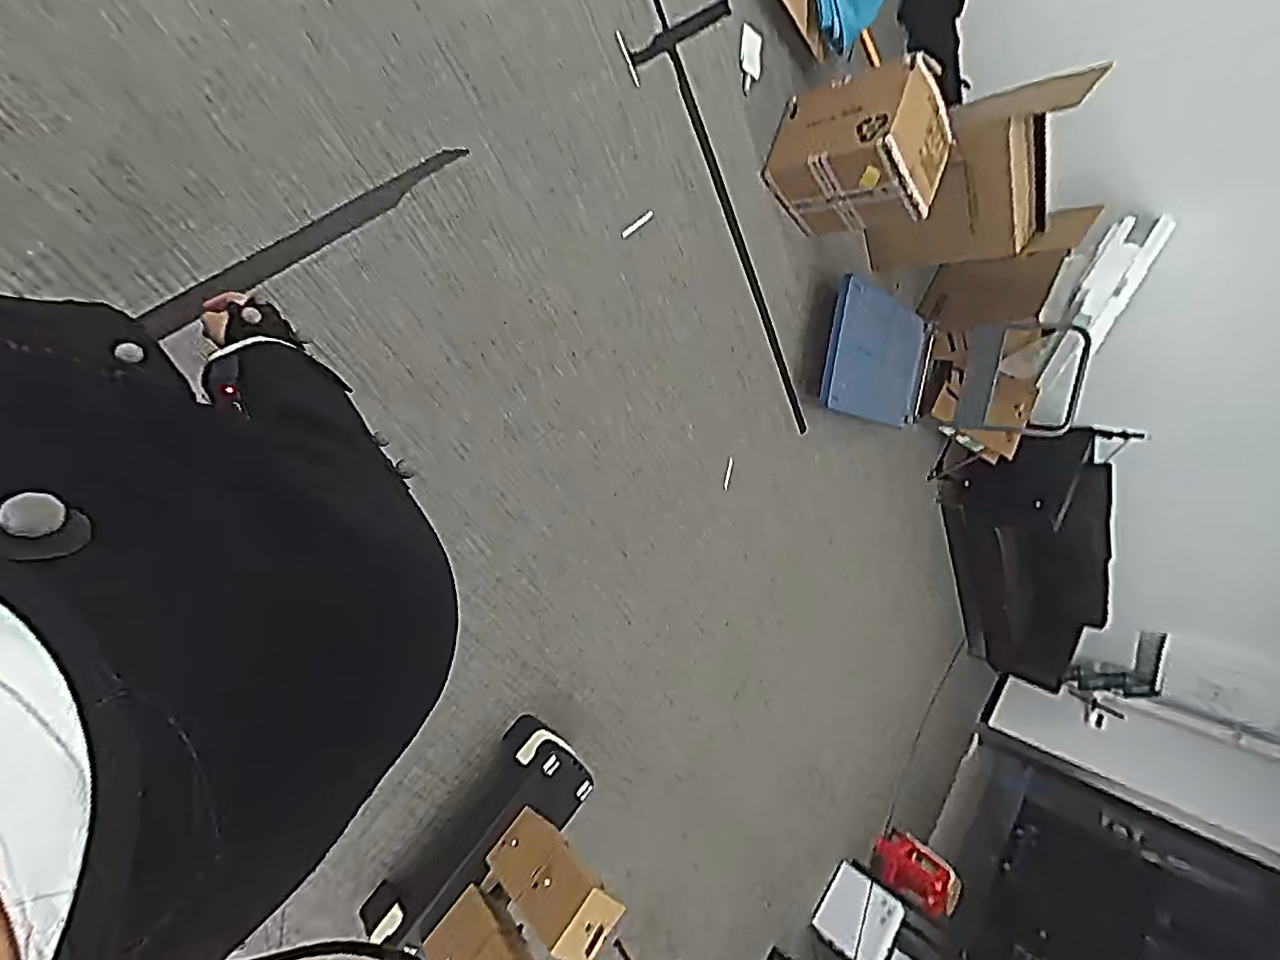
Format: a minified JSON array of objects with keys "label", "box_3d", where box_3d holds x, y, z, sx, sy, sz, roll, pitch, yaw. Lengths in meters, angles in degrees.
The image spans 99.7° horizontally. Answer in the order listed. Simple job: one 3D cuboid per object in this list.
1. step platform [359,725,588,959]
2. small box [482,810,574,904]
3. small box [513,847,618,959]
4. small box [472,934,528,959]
[{"label":"step platform","box_3d":[-0.466,1.115,1.624,0.684,0.204,0.286,-49,128,-24]},{"label":"small box","box_3d":[-0.307,1.075,1.522,0.168,0.176,0.179,-47,127,-25]},{"label":"small box","box_3d":[-0.194,1.104,1.406,0.168,0.176,0.179,-47,127,-25]},{"label":"small box","box_3d":[-0.344,1.260,1.306,0.179,0.176,0.168,-45,126,-25]}]
